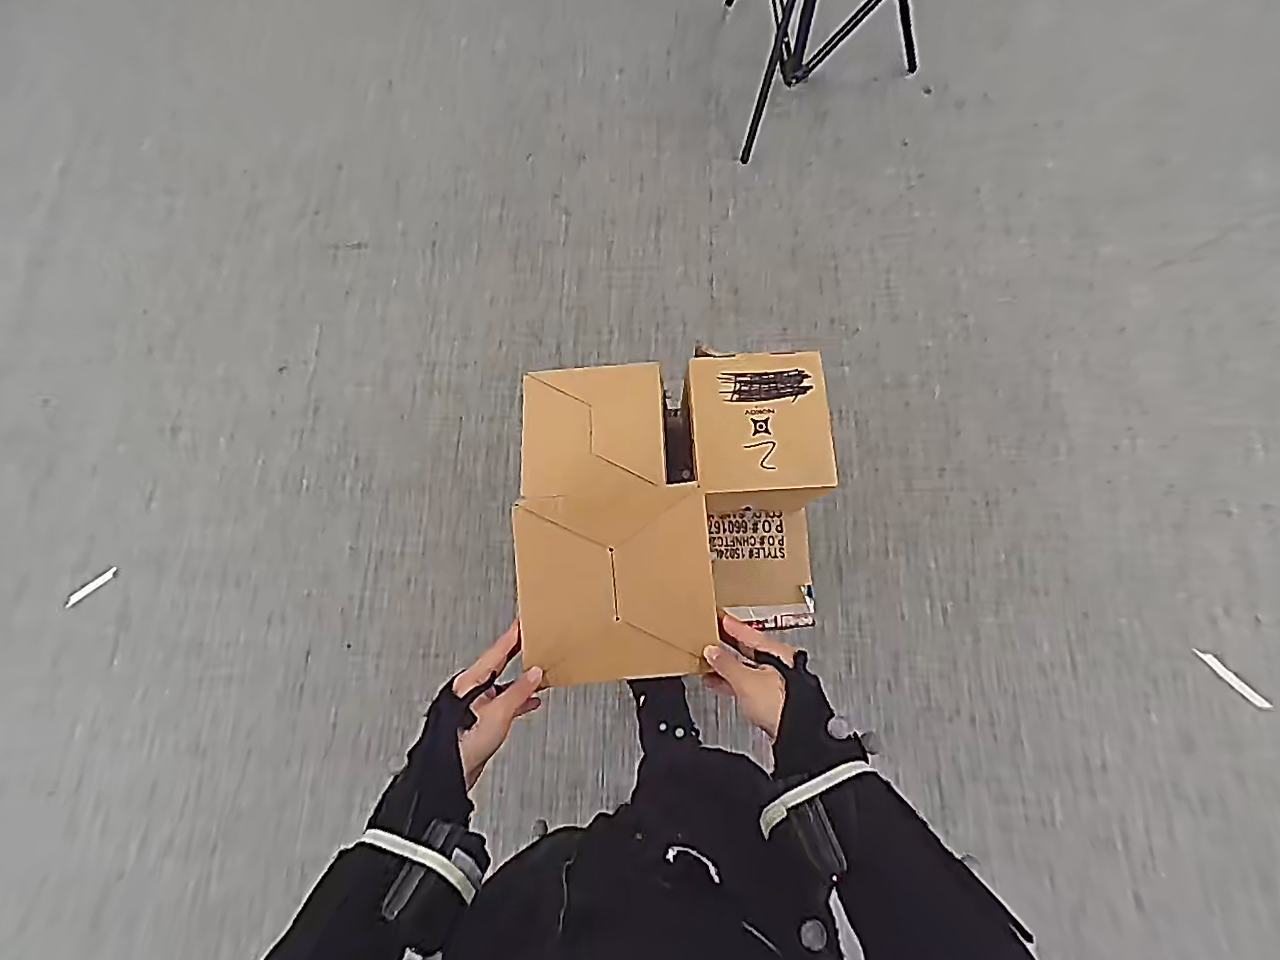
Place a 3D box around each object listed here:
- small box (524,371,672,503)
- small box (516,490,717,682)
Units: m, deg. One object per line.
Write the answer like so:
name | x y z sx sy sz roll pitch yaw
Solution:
small box | -0.049 -0.039 0.745 0.179 0.176 0.168 -3 76 5
small box | -0.023 0.104 0.566 0.179 0.176 0.168 -6 83 2
